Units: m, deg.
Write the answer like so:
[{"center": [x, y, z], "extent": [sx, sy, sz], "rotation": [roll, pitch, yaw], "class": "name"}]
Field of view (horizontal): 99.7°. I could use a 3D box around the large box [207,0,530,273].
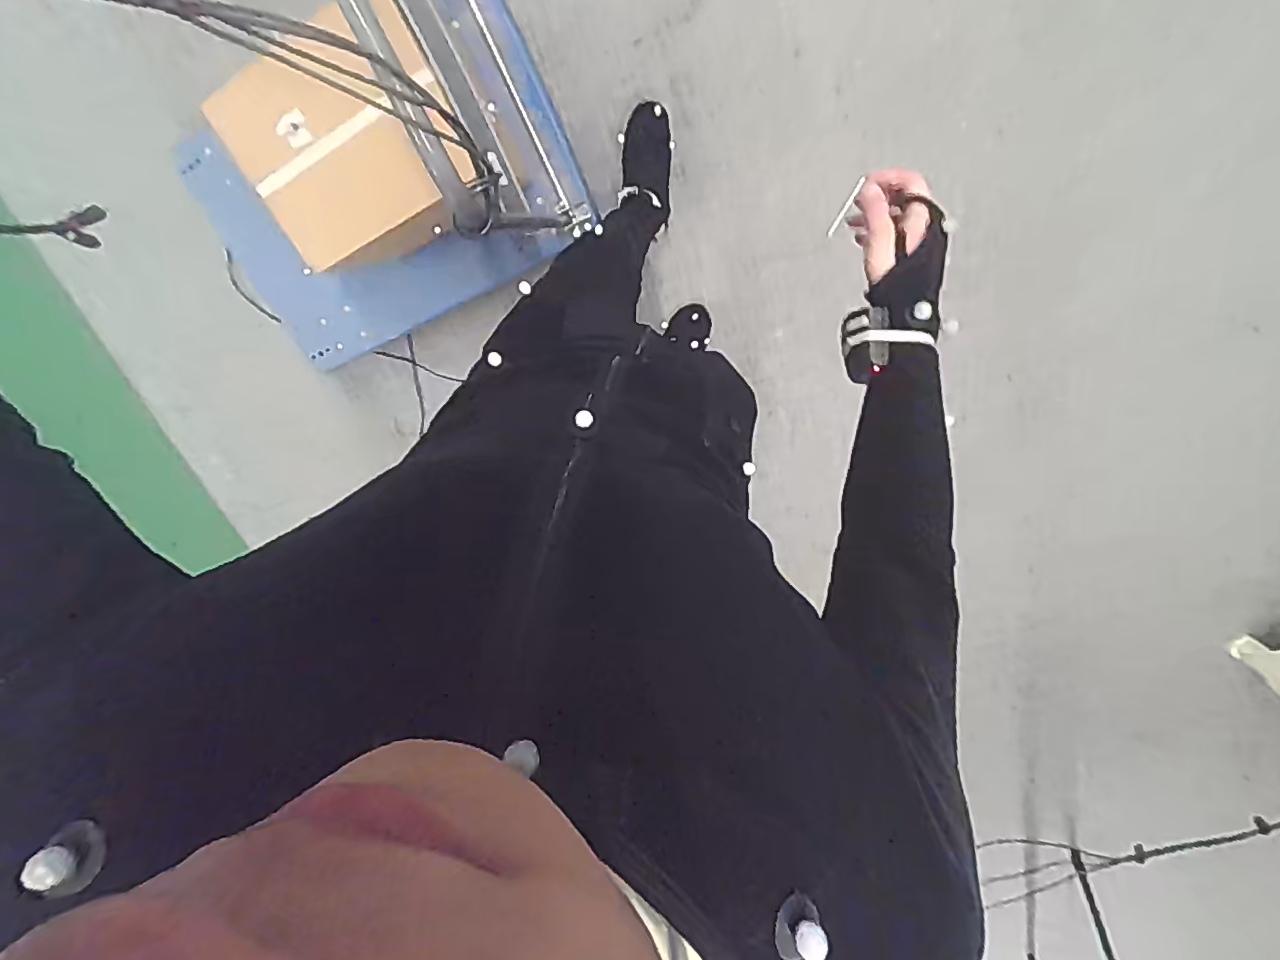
[{"center": [-0.494, -0.662, 1.066], "extent": [0.408, 0.320, 0.320], "rotation": [-21, 112, 16], "class": "large box"}]
